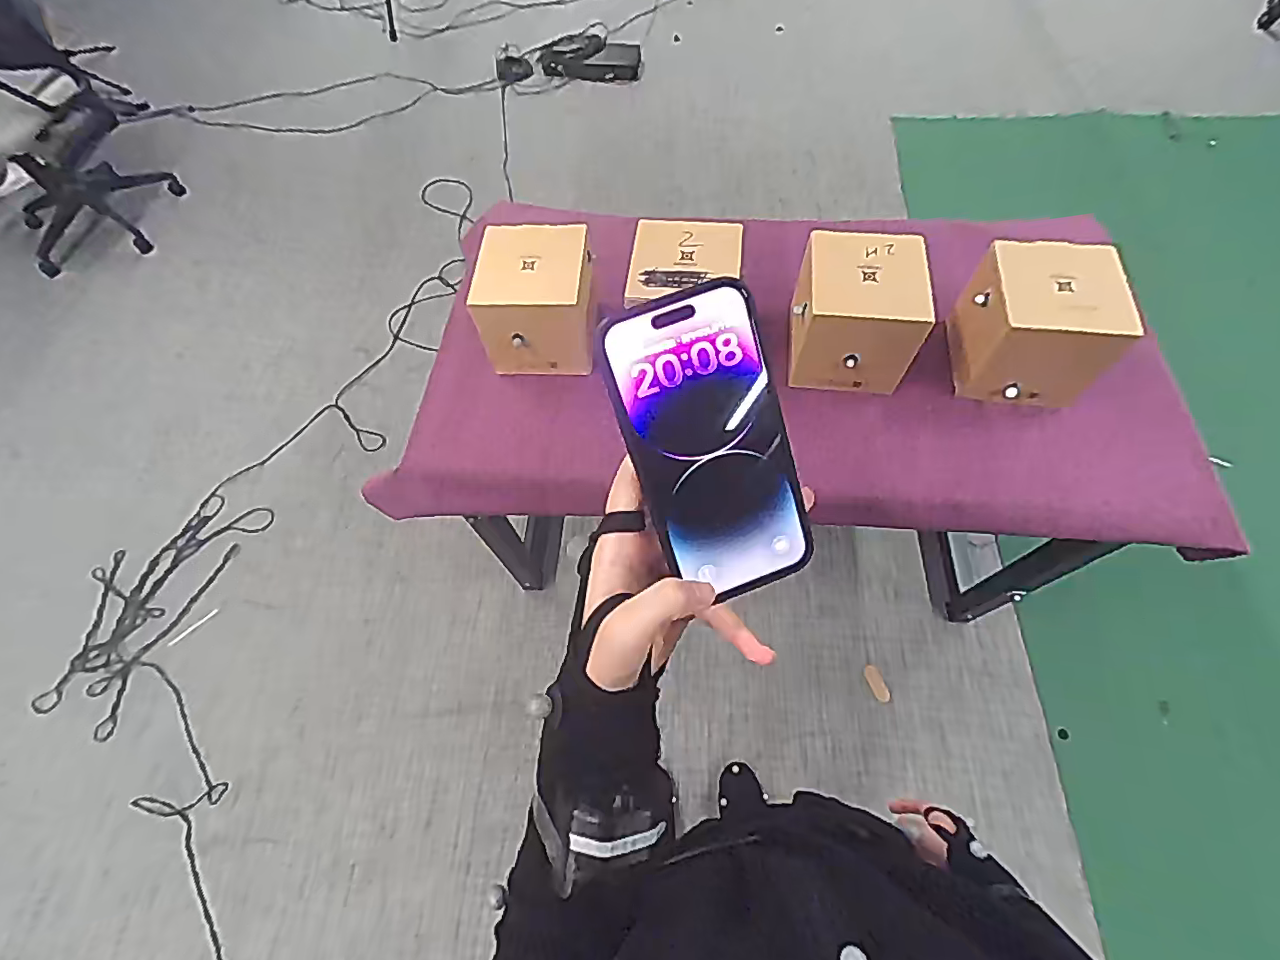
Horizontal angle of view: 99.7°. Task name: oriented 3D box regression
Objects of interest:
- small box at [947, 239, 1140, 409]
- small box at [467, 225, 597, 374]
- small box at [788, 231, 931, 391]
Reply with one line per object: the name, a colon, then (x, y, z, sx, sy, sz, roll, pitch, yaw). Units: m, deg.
small box: (0.590, -0.234, 0.822, 0.168, 0.176, 0.179, 7, 63, 8)
small box: (-0.165, -0.291, 0.895, 0.168, 0.176, 0.179, 0, 61, 4)
small box: (0.332, -0.259, 0.849, 0.168, 0.176, 0.179, 6, 62, 6)
